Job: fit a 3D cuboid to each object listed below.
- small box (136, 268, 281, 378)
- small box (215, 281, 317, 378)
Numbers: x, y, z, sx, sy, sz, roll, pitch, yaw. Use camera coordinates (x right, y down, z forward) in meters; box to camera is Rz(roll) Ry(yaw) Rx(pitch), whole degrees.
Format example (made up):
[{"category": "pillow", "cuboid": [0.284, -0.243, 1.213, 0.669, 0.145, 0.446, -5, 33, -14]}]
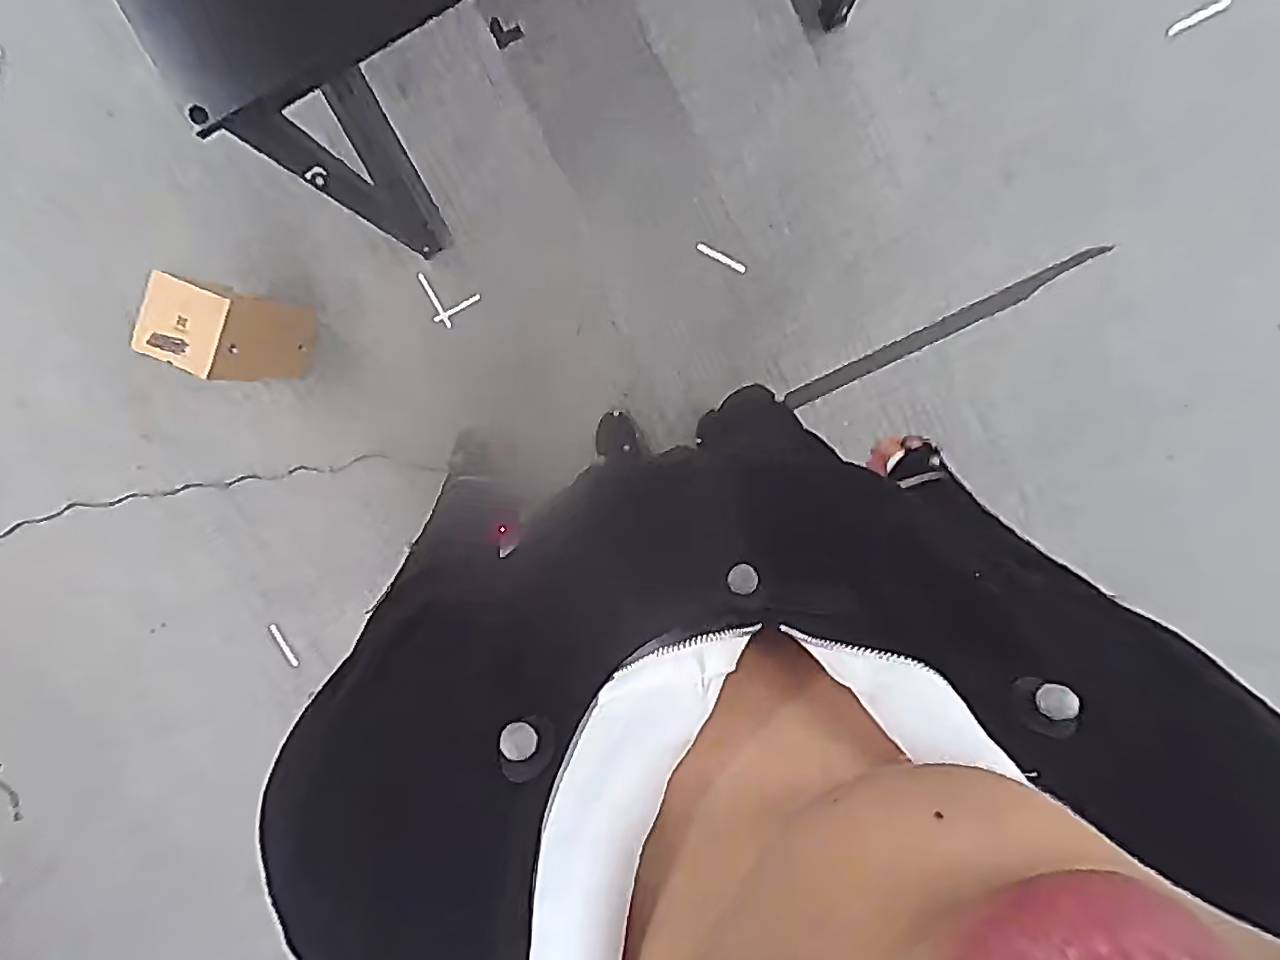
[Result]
[{"category": "small box", "cuboid": [-0.939, -0.334, 1.193, 0.168, 0.176, 0.179, 23, 98, -4]}, {"category": "small box", "cuboid": [-0.950, -0.368, 1.355, 0.168, 0.176, 0.179, 22, 98, -3]}]
